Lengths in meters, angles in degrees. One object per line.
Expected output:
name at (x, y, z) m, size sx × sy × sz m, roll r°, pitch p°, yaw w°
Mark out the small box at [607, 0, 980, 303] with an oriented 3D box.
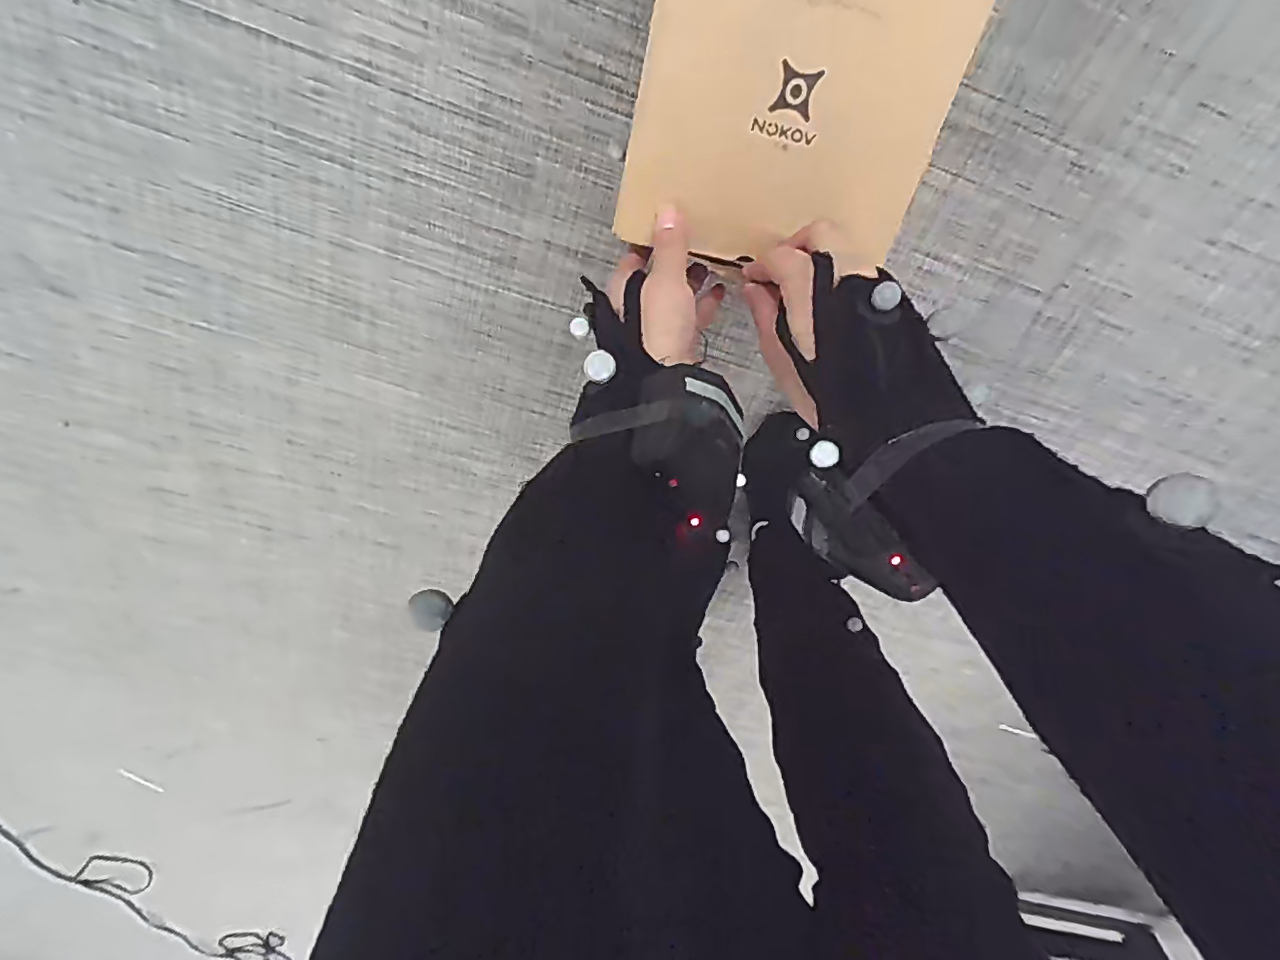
small box at (0.078, -0.240, 0.363) m, size 0.168 × 0.176 × 0.179 m, roll 10°, pitch 120°, yaw -5°
